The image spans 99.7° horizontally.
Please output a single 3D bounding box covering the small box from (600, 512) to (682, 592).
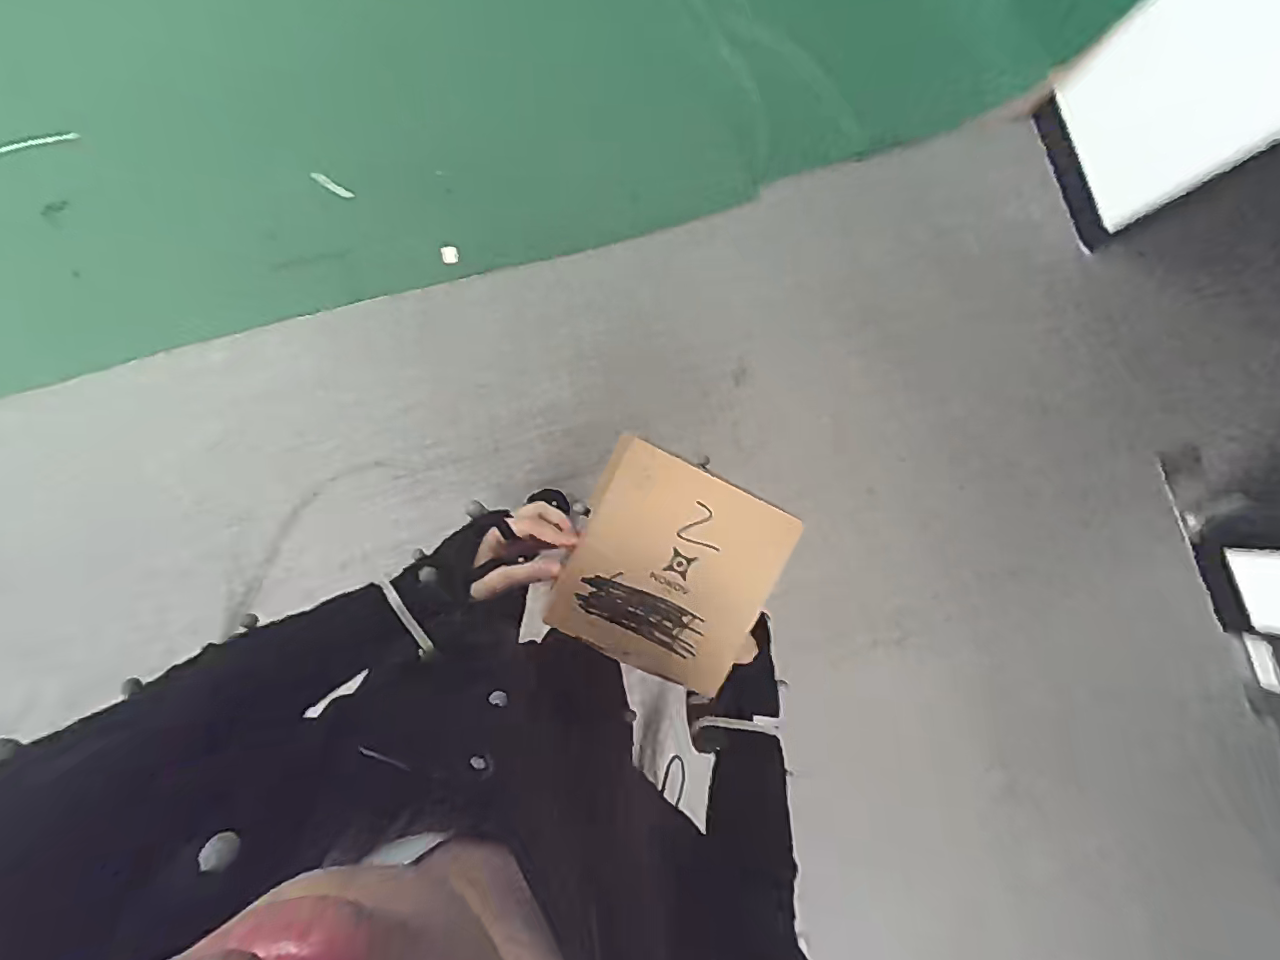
[{"bbox_3d":[-0.003,0.183,1.420,0.179,0.176,0.168,-16,87,-5],"label":"small box"}]
